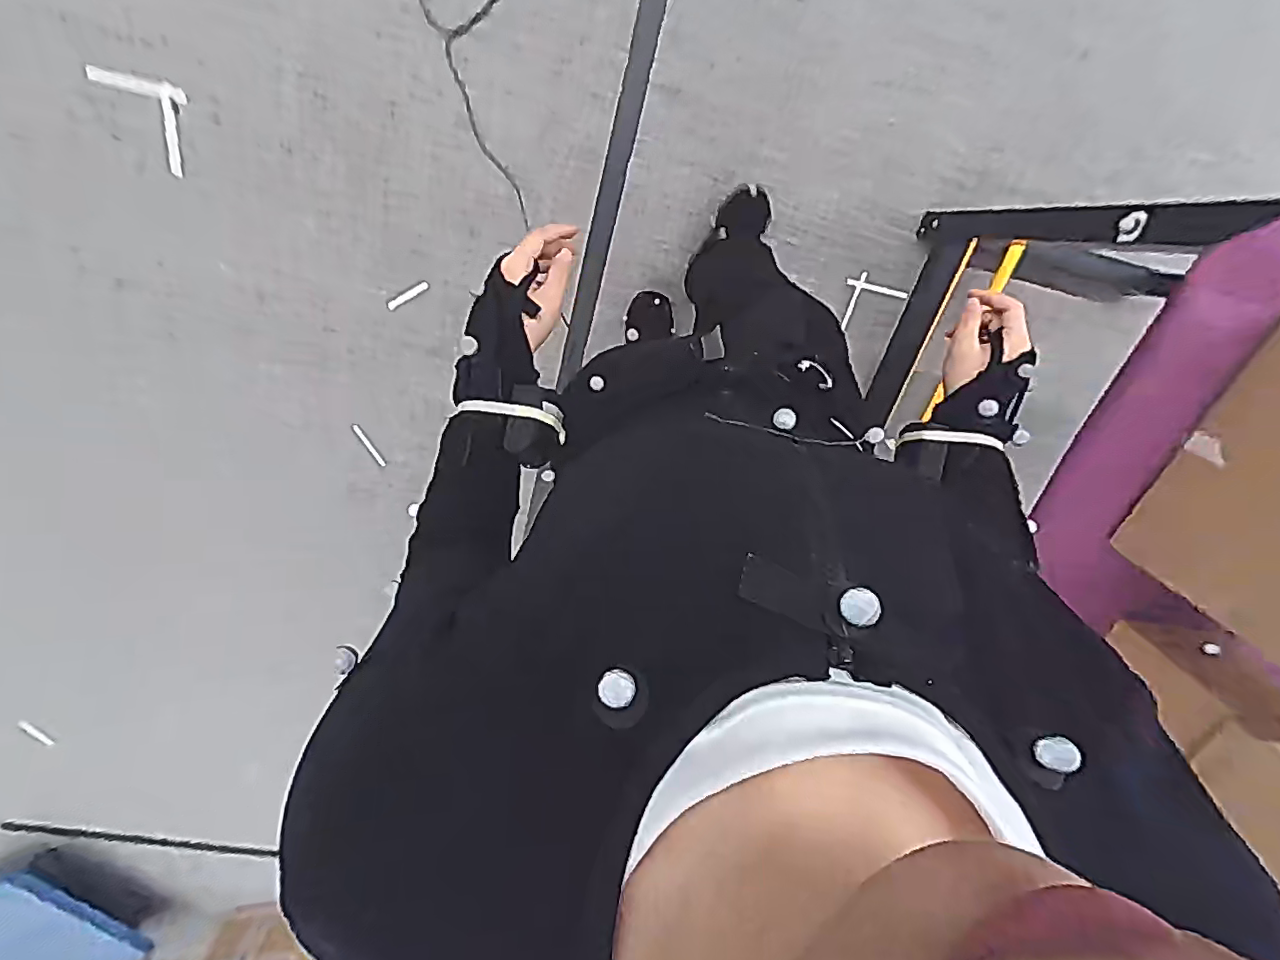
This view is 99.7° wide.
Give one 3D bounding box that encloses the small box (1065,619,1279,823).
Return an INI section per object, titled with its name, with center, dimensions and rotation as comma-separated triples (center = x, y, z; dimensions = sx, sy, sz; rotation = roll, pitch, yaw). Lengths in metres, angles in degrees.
[small box]
center = 0.729, 0.317, 0.723
dimensions = 0.168, 0.176, 0.179
rotation = 11, 116, -9

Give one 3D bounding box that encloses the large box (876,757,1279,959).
[large box]
center = 0.656, 0.669, 0.818
dimensions = 0.408, 0.320, 0.320
rotation = 11, 115, -9
